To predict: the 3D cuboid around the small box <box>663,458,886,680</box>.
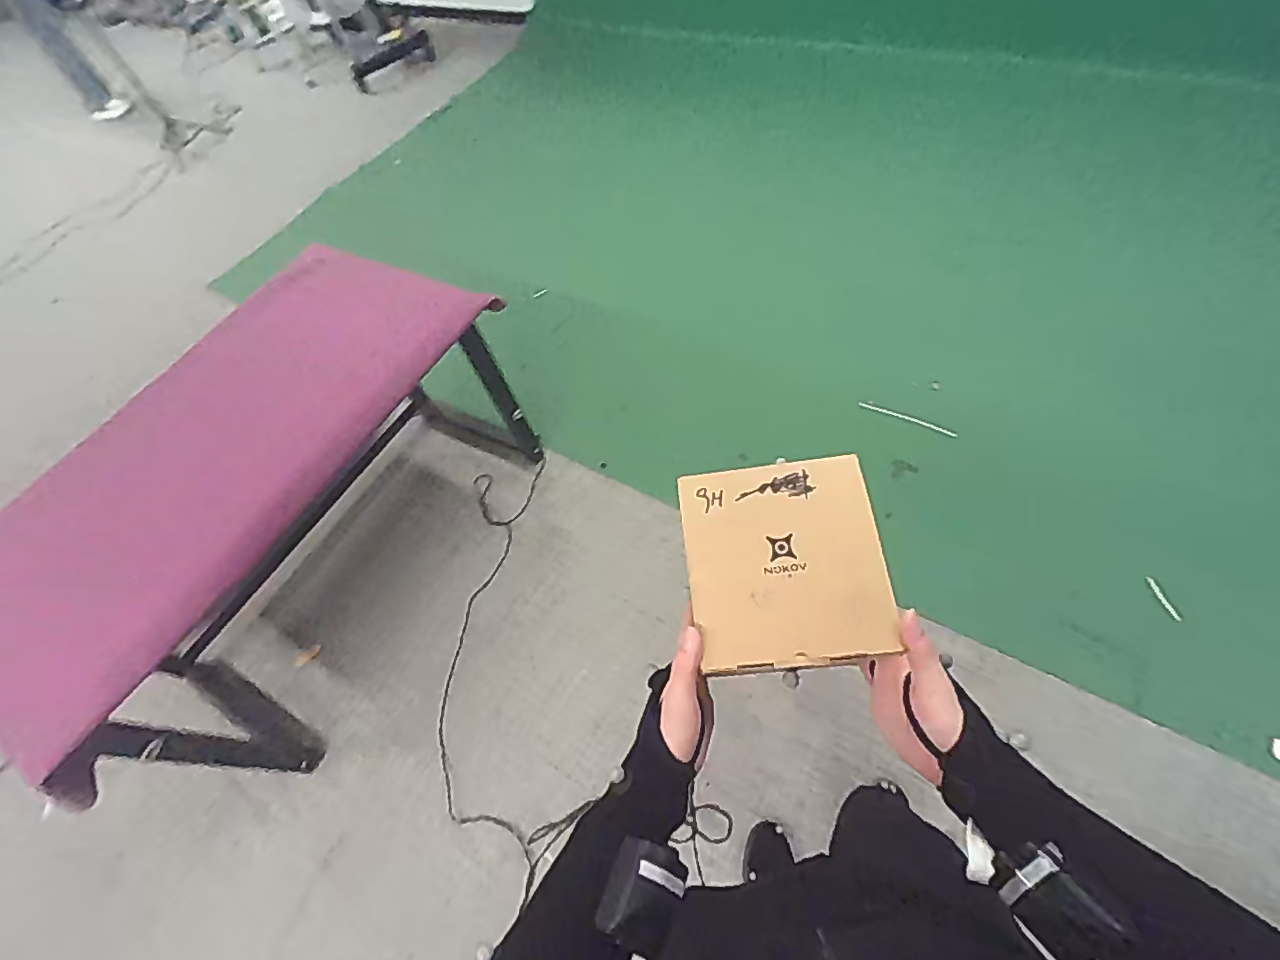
[{"bbox_3d":[0.121,0.098,0.539,0.168,0.176,0.179,-8,69,6],"label":"small box"}]
